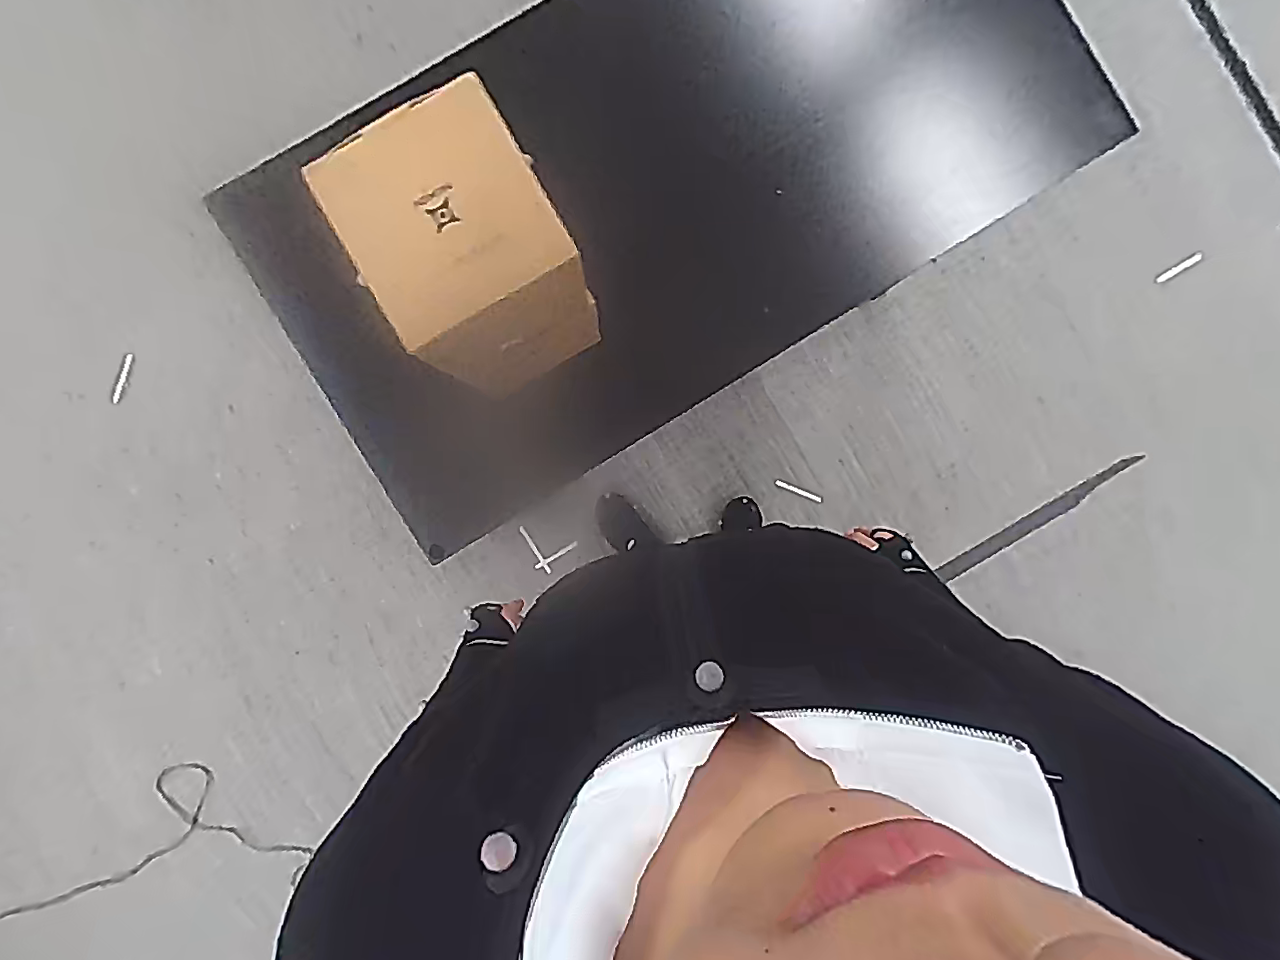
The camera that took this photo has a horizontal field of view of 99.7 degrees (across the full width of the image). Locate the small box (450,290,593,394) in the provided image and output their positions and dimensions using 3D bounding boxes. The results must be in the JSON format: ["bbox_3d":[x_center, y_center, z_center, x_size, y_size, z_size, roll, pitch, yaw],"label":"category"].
[{"bbox_3d":[-0.173,-0.227,0.689,0.179,0.176,0.168,-30,91,-3],"label":"small box"}]

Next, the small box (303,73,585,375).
[{"bbox_3d":[-0.168,-0.225,0.526,0.168,0.176,0.179,-31,92,0],"label":"small box"}]
